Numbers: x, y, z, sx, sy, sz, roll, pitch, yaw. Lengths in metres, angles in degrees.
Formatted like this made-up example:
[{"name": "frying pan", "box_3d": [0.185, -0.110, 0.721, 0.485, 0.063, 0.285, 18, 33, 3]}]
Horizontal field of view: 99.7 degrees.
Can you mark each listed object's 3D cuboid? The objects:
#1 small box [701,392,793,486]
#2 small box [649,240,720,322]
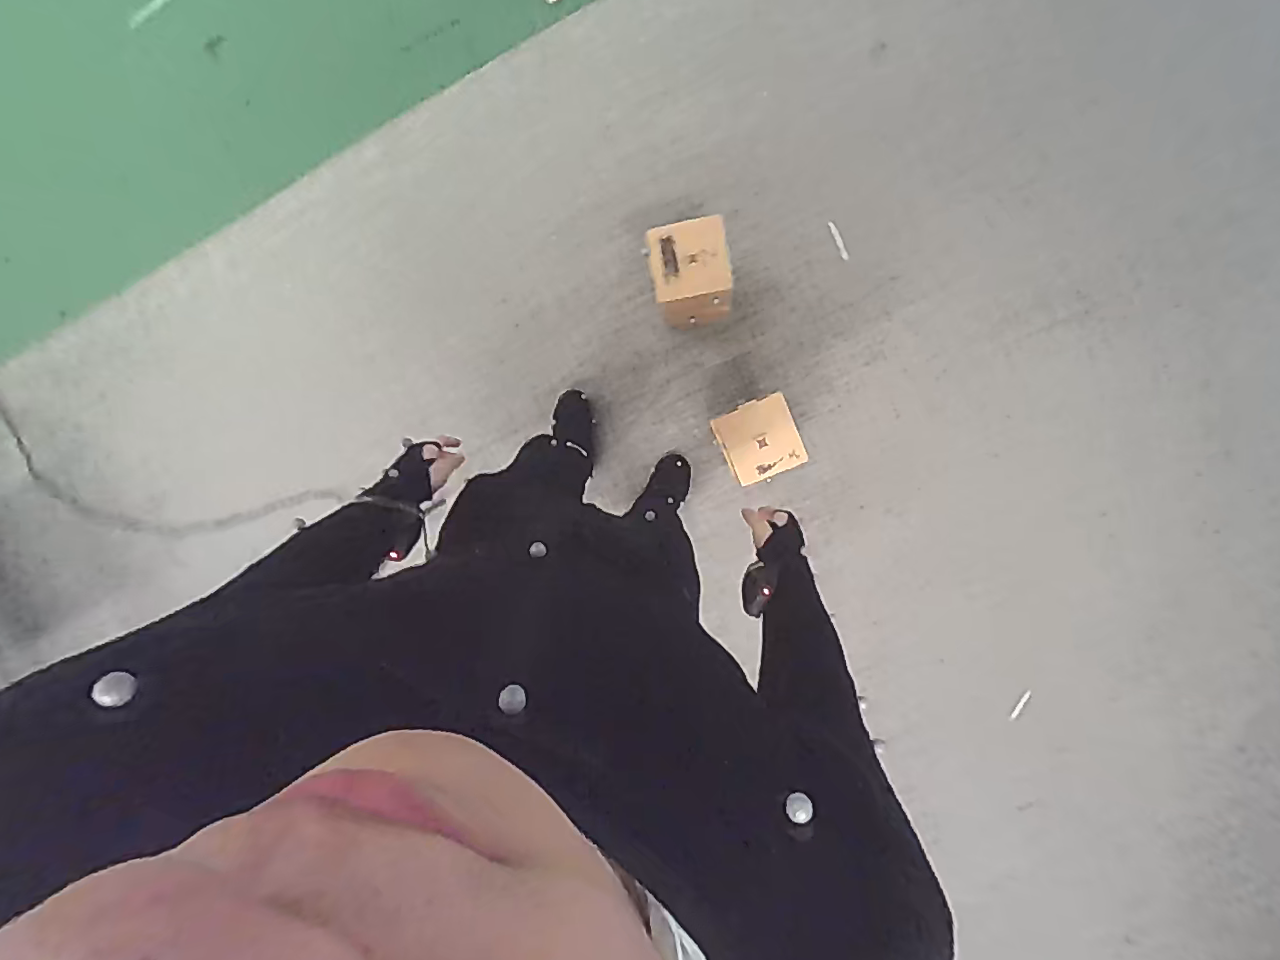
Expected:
[{"name": "small box", "box_3d": [0.251, -0.098, 1.305, 0.168, 0.176, 0.179, -20, 94, 8]}, {"name": "small box", "box_3d": [0.119, -0.518, 1.429, 0.179, 0.176, 0.168, -2, 97, 5]}]
